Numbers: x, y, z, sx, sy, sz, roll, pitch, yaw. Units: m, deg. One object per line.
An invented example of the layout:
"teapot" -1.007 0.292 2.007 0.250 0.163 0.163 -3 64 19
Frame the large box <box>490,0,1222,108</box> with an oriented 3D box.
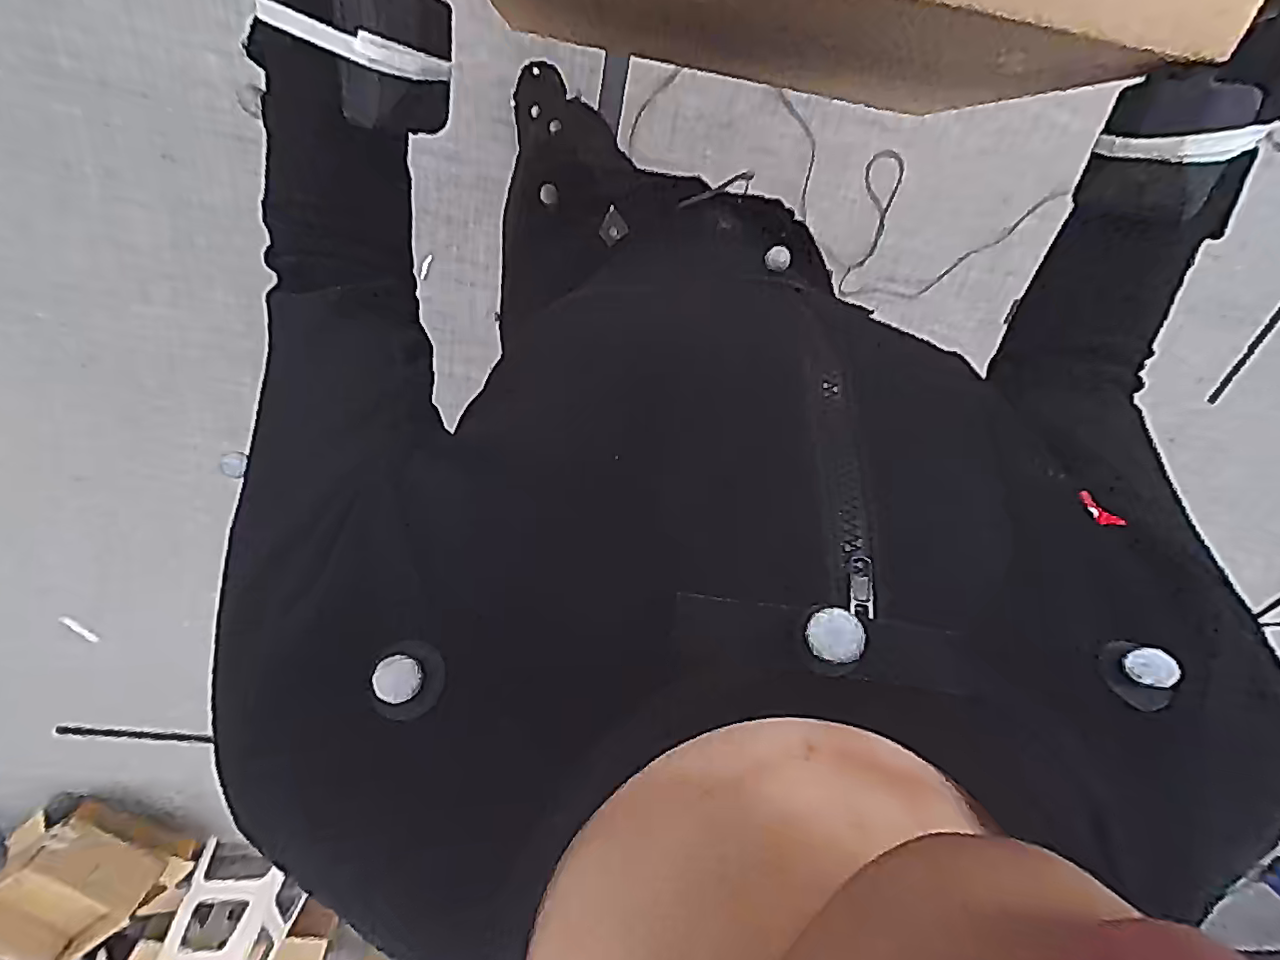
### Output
"large box" 0.103 -0.442 0.311 0.408 0.320 0.320 7 121 -6
